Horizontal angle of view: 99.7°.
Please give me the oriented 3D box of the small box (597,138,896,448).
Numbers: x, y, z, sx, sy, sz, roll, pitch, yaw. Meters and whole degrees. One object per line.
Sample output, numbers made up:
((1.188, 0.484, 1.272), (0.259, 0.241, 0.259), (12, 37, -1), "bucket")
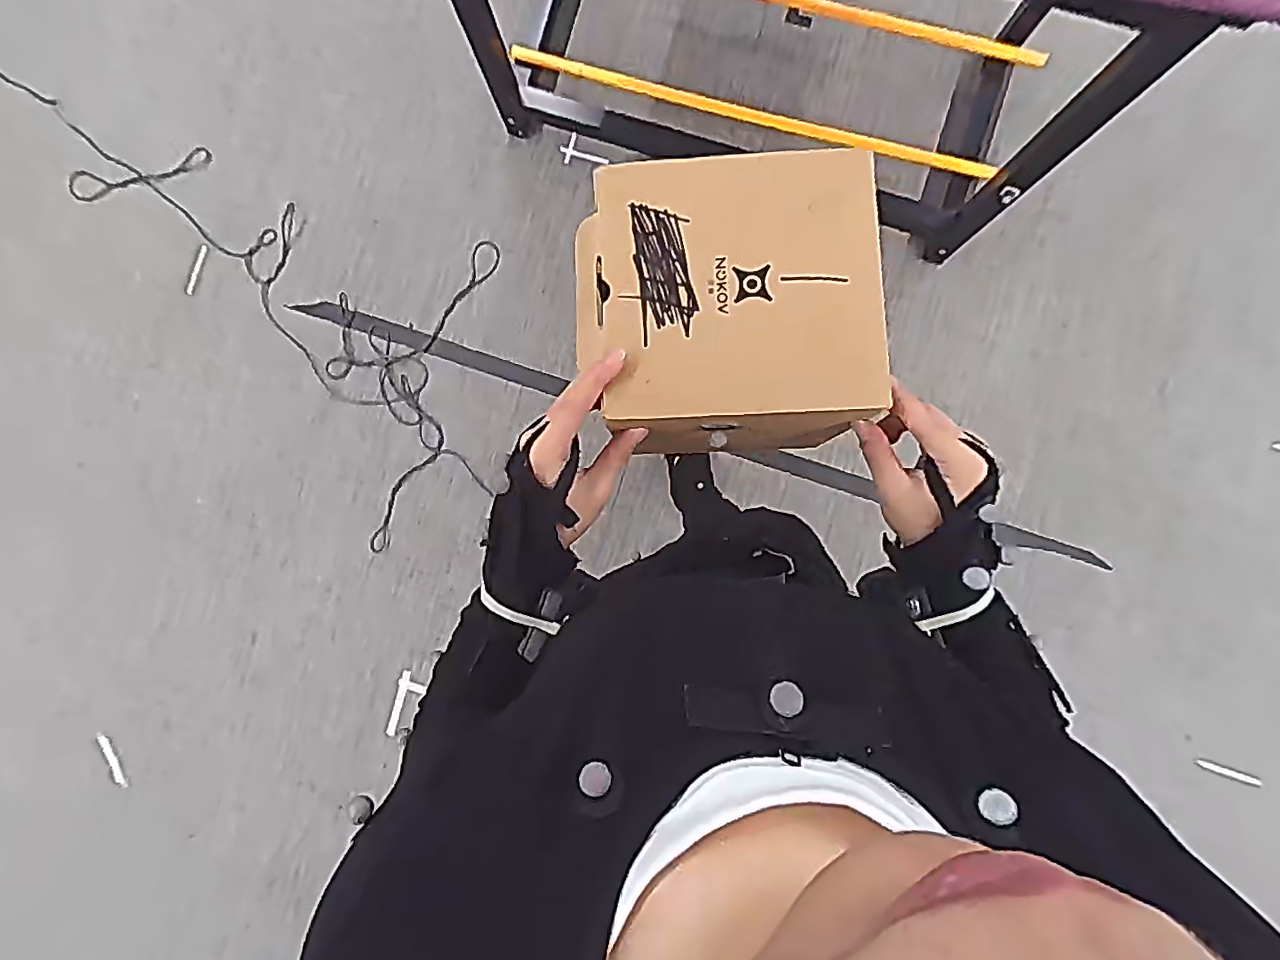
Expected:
((0.066, -0.117, 0.406), (0.179, 0.176, 0.168), (-2, 85, 2), "small box")
